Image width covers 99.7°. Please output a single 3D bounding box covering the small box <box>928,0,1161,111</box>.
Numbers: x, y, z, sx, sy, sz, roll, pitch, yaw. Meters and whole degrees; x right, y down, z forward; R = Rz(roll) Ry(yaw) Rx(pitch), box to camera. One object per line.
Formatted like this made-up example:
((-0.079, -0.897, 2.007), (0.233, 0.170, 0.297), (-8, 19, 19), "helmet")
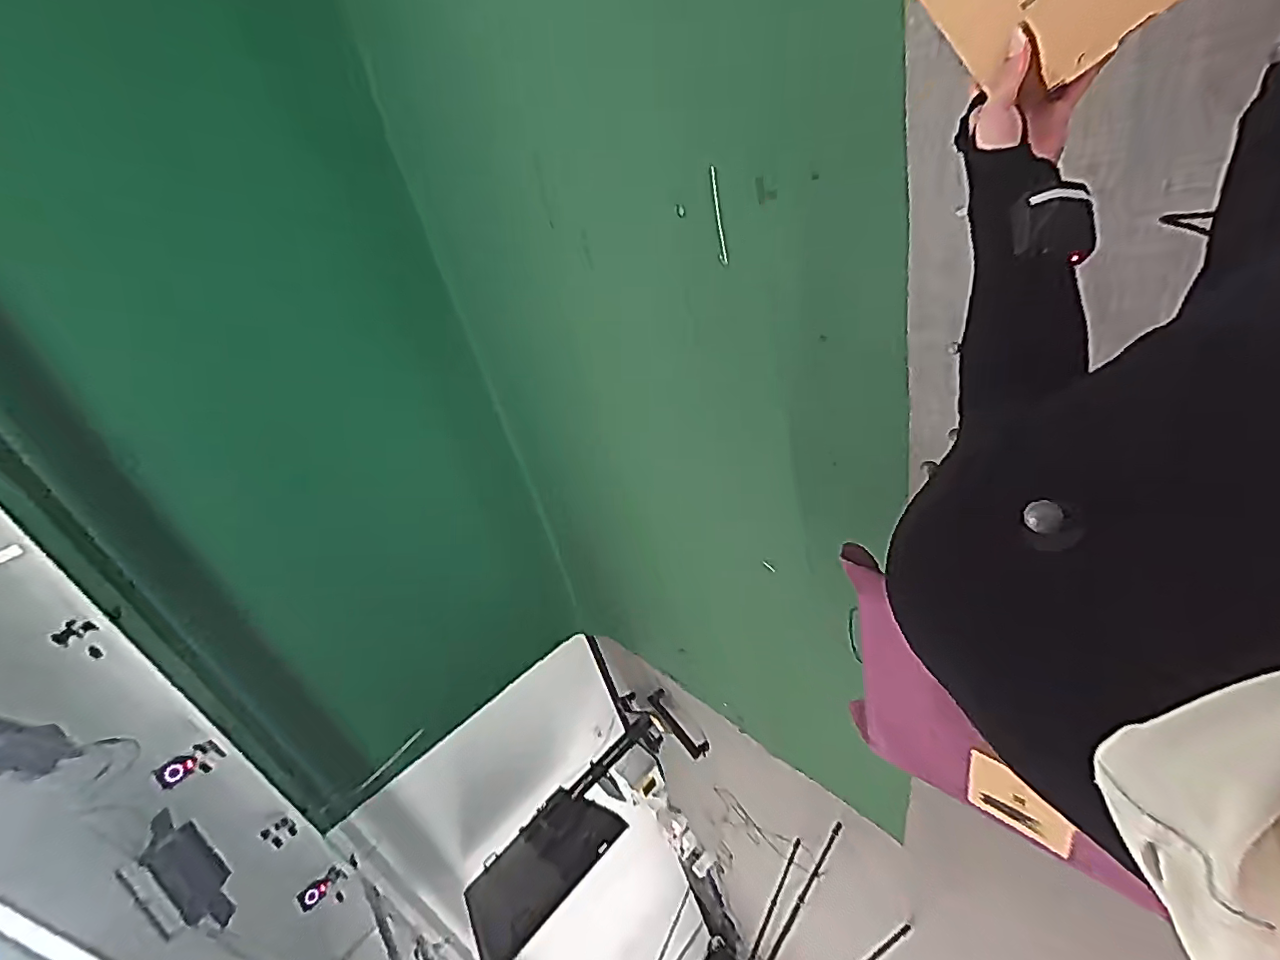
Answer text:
((0.379, -0.476, 0.449), (0.179, 0.176, 0.168), (47, 176, -8), "small box")
